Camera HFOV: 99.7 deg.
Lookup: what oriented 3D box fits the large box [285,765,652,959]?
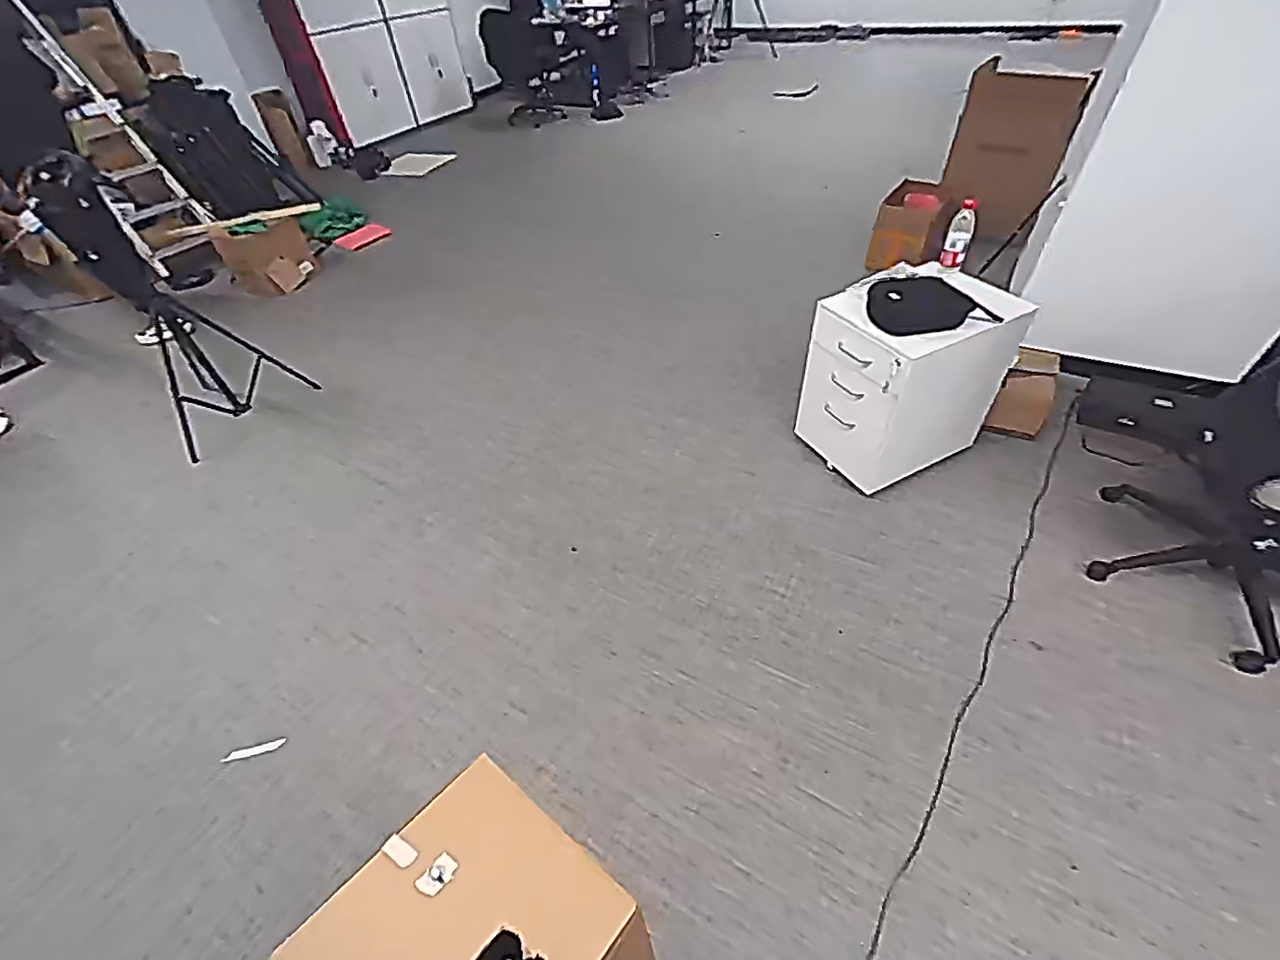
[{"bbox_3d":[-0.193,0.693,0.738,0.320,0.408,0.320,21,43,38],"label":"large box"}]
